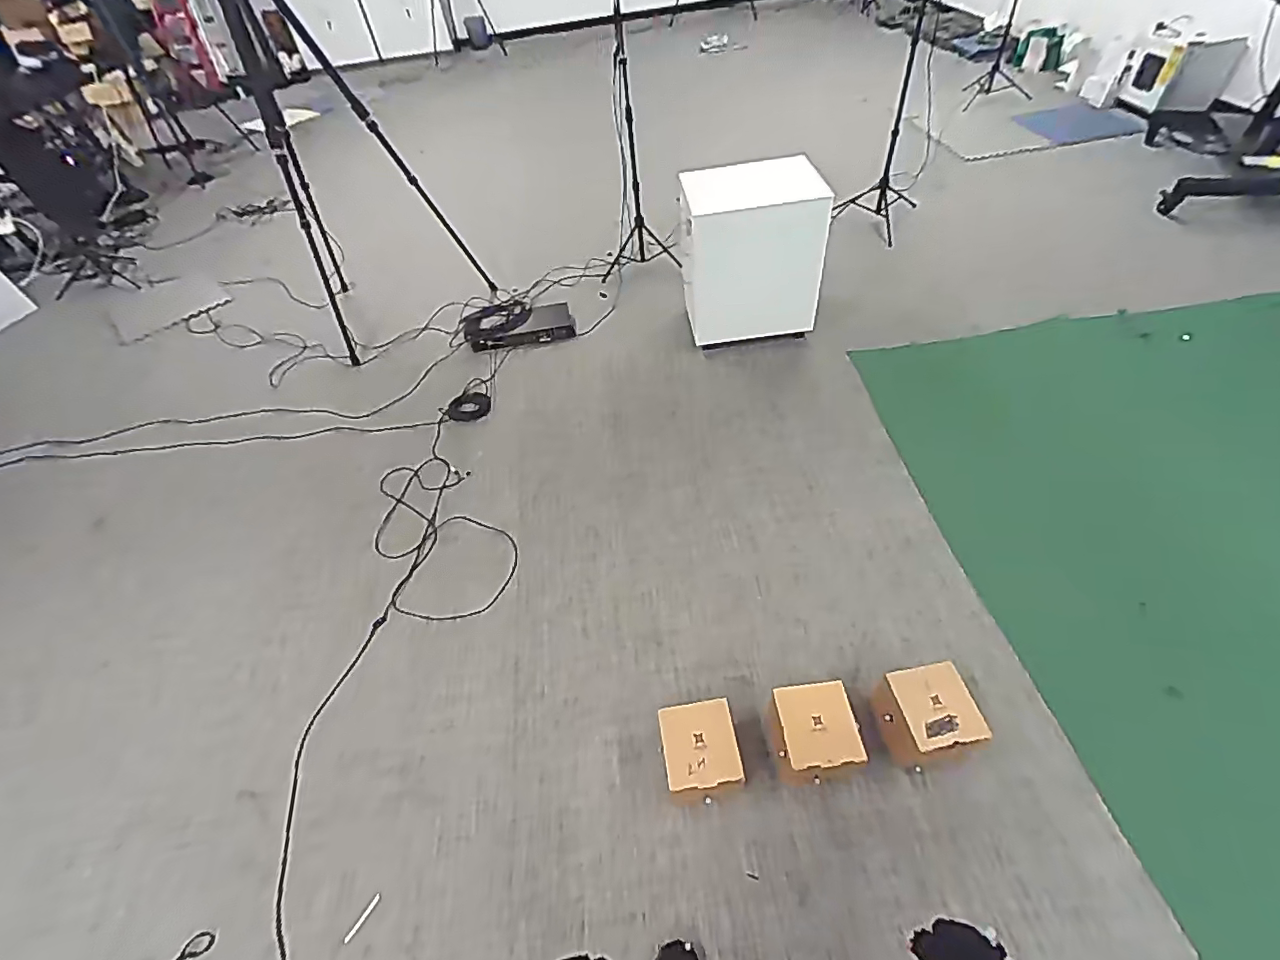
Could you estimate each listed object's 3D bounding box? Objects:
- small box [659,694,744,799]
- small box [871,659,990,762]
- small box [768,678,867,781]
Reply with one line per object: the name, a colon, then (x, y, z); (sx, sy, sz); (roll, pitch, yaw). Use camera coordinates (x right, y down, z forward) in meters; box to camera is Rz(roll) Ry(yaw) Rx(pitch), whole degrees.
small box: (0.141, 0.629, 1.274); (0.168, 0.176, 0.179); (-10, 50, 1)
small box: (0.673, 0.549, 1.274); (0.168, 0.176, 0.179); (-10, 49, -1)
small box: (0.407, 0.589, 1.276); (0.168, 0.176, 0.179); (-7, 50, 1)
